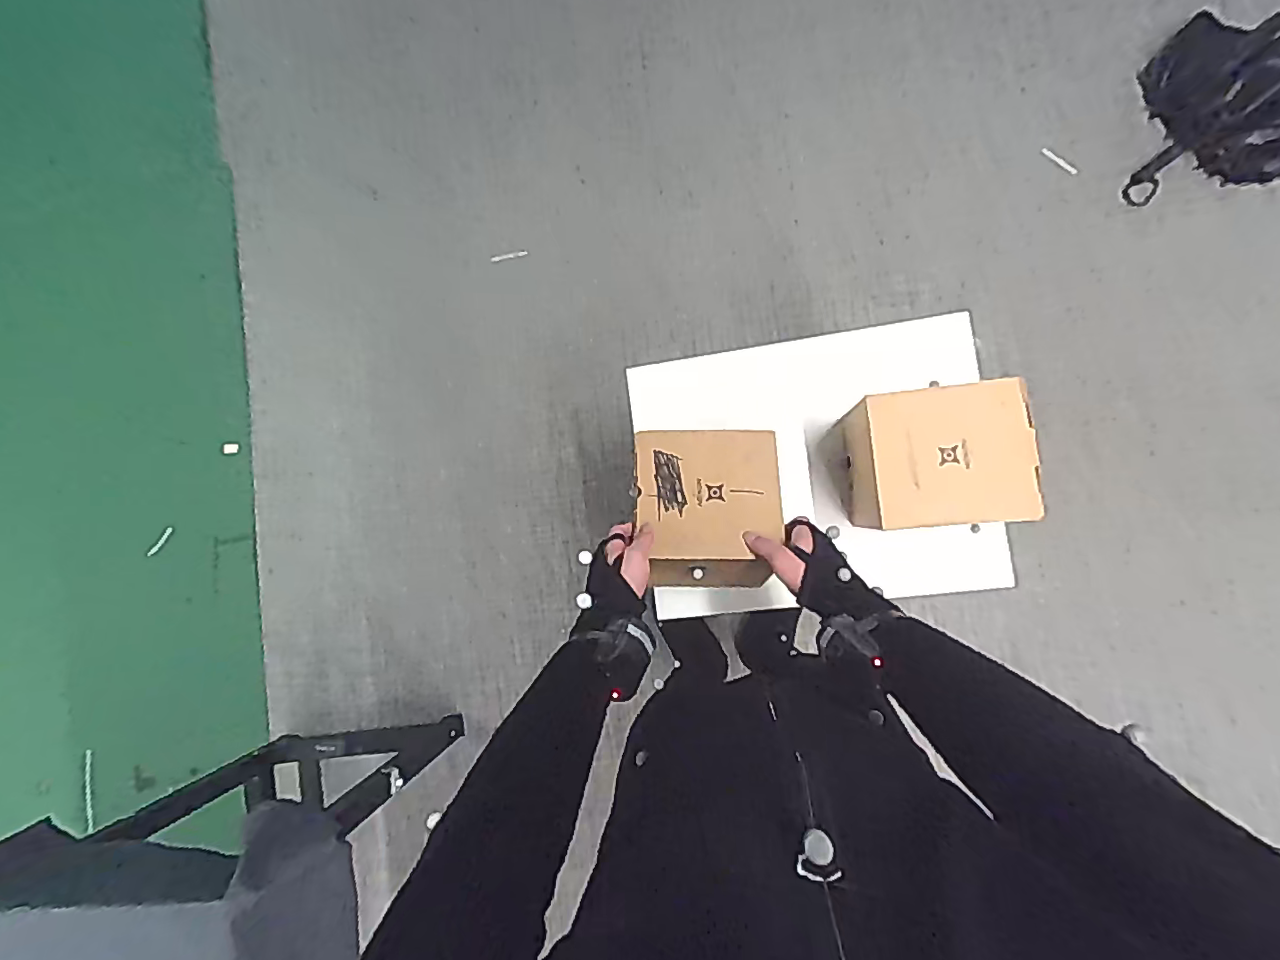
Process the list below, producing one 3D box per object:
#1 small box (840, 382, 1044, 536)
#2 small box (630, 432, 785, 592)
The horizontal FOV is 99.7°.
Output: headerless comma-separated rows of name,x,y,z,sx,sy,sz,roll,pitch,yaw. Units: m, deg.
small box,0.370,-0.020,0.696,0.179,0.176,0.168,-6,85,10
small box,0.080,0.049,0.708,0.179,0.176,0.168,0,67,2
